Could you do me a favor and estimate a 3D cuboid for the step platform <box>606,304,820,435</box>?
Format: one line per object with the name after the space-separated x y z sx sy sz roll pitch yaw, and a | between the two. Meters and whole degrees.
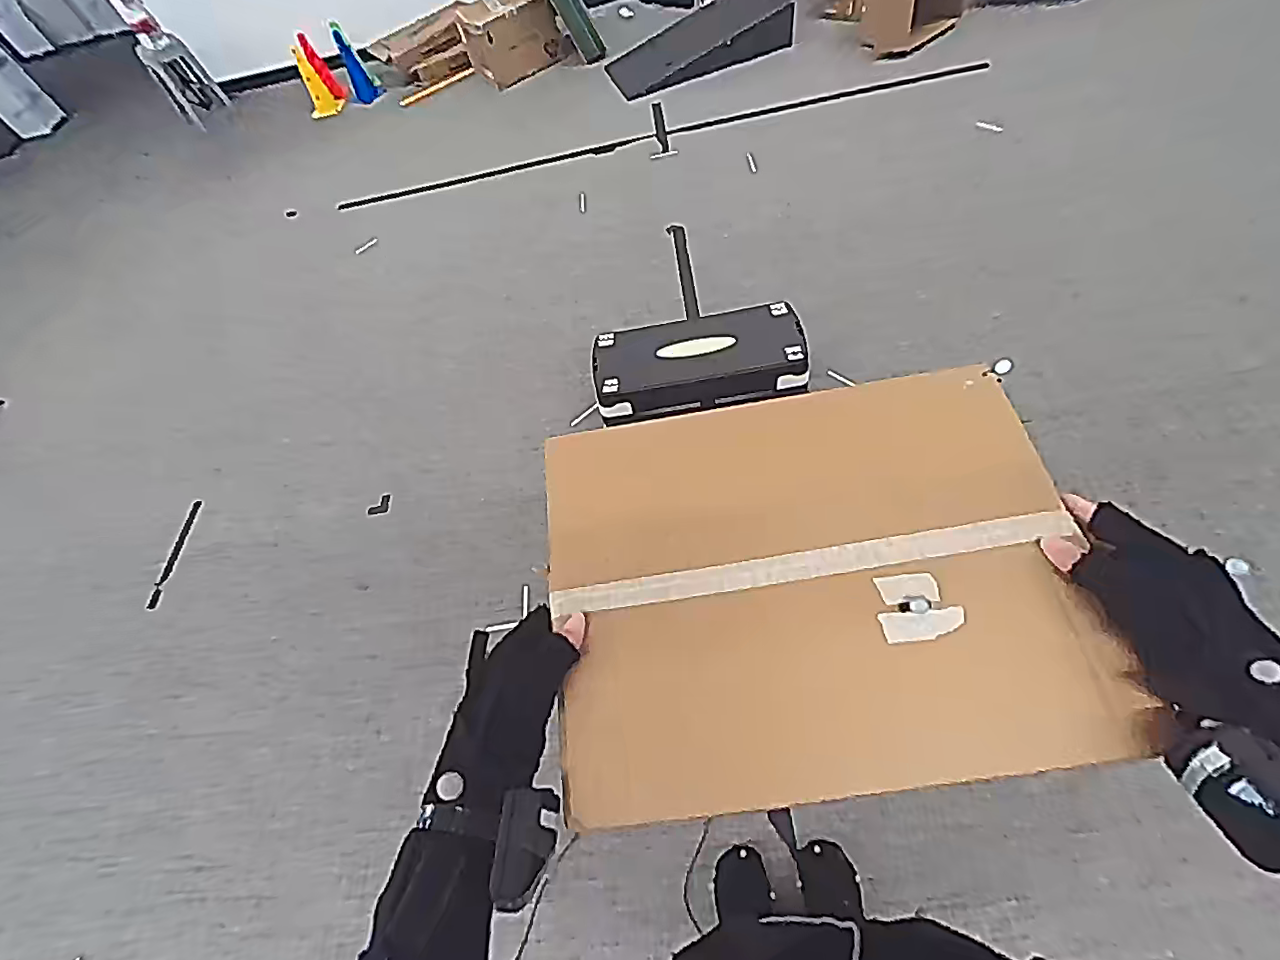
0.230 -0.365 1.774 0.684 0.204 0.286 -10 58 4 | step platform

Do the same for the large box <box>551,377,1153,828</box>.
0.147 0.140 0.568 0.408 0.320 0.320 -10 63 3 | large box
